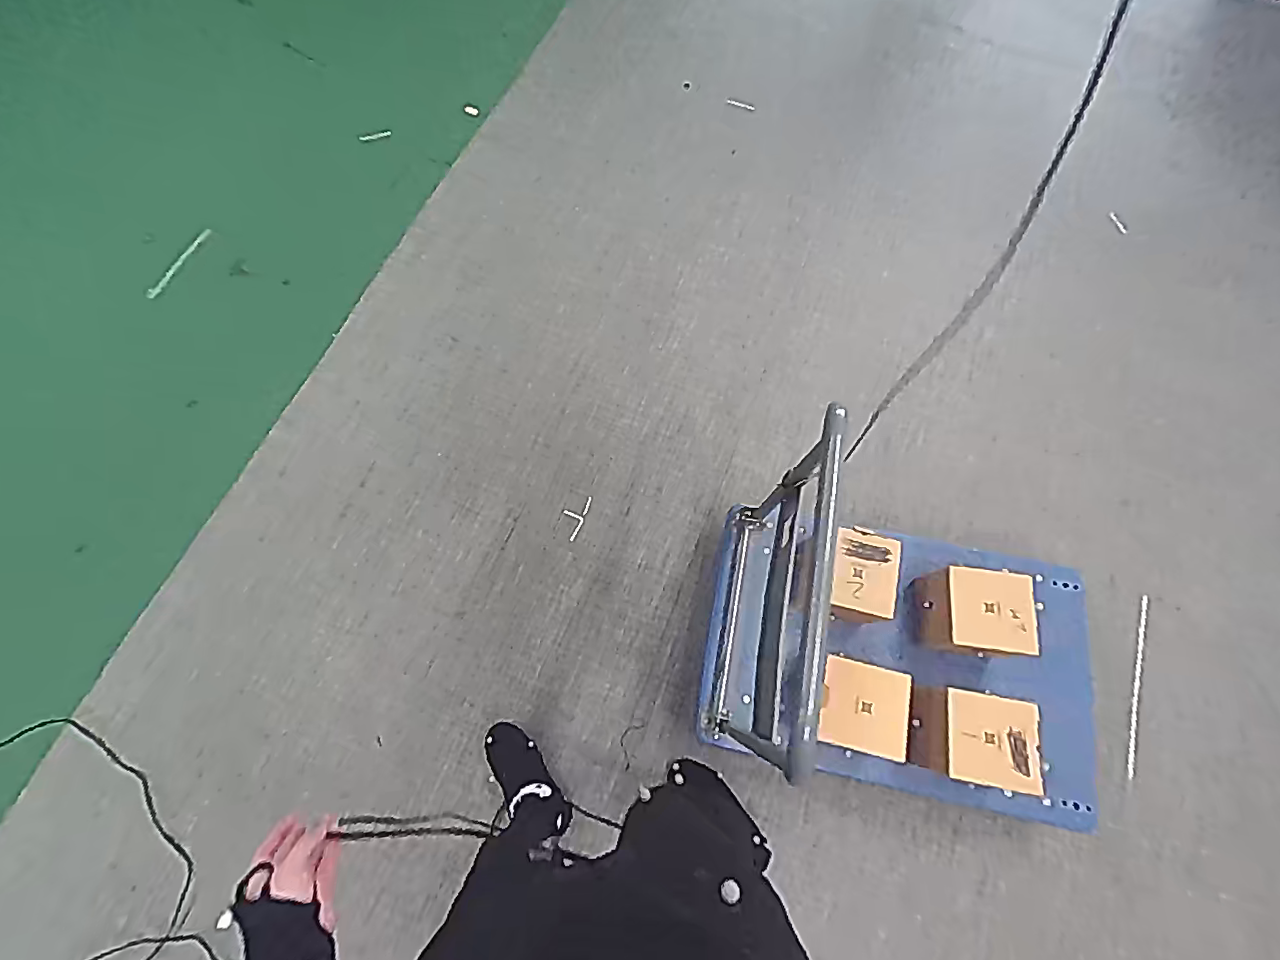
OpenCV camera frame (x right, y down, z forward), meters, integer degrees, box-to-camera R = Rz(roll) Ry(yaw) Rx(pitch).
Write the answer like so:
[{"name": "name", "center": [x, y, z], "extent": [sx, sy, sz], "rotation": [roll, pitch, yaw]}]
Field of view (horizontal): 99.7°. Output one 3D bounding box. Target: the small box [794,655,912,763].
[{"name": "small box", "center": [0.444, 0.475, 1.144], "extent": [0.179, 0.176, 0.168], "rotation": [13, 71, 6]}]

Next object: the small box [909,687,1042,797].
[{"name": "small box", "center": [0.686, 0.531, 1.120], "extent": [0.179, 0.176, 0.168], "rotation": [10, 70, 5]}]

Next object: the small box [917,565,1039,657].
[{"name": "small box", "center": [0.739, 0.297, 1.203], "extent": [0.179, 0.176, 0.168], "rotation": [8, 71, 3]}]
